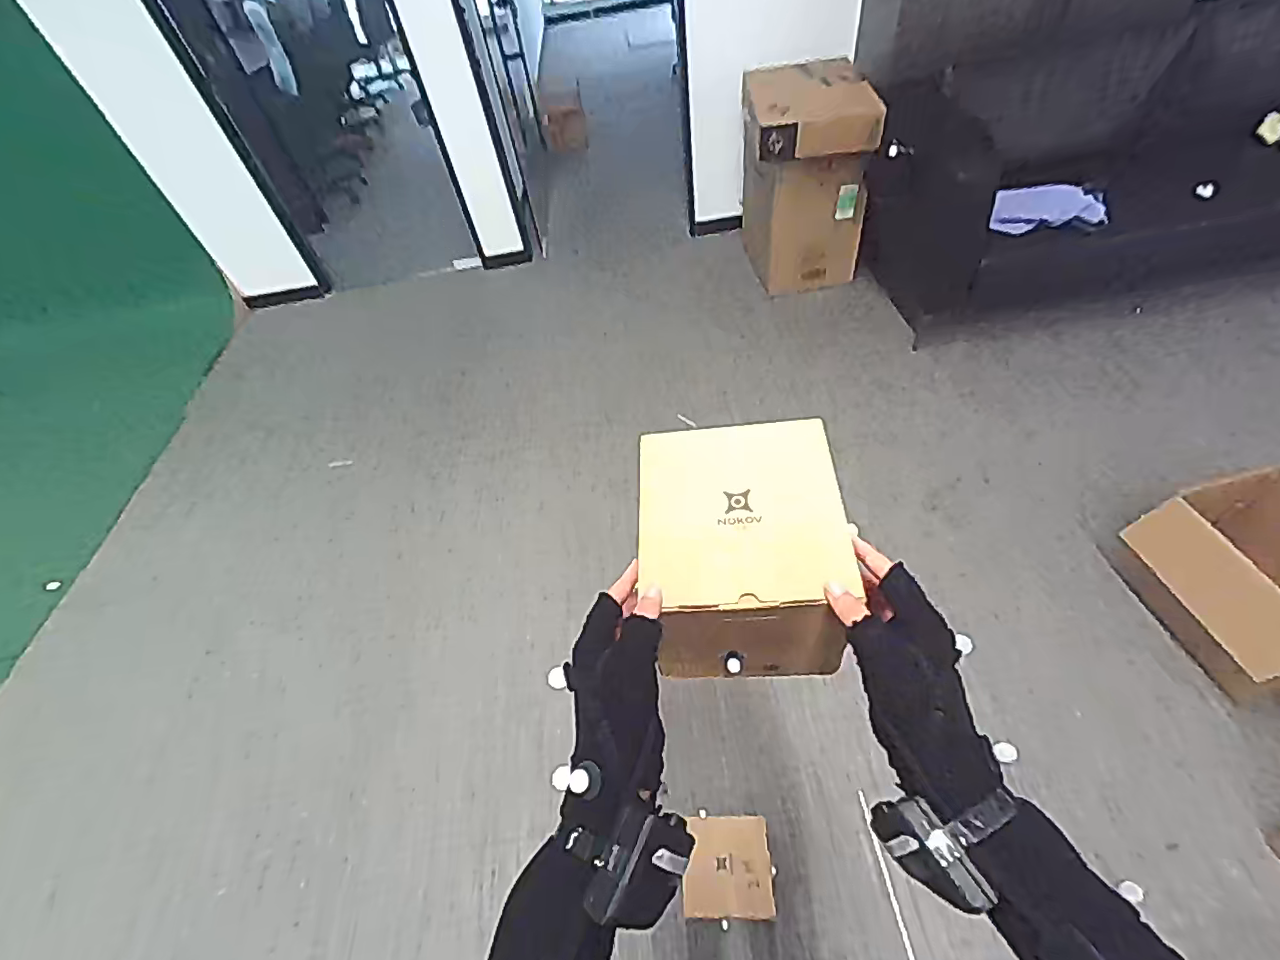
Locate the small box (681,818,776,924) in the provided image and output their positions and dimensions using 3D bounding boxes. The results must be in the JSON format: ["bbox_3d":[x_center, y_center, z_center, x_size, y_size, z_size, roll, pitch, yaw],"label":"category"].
[{"bbox_3d":[0.180,0.809,1.118,0.179,0.176,0.168,-4,49,7],"label":"small box"}]
